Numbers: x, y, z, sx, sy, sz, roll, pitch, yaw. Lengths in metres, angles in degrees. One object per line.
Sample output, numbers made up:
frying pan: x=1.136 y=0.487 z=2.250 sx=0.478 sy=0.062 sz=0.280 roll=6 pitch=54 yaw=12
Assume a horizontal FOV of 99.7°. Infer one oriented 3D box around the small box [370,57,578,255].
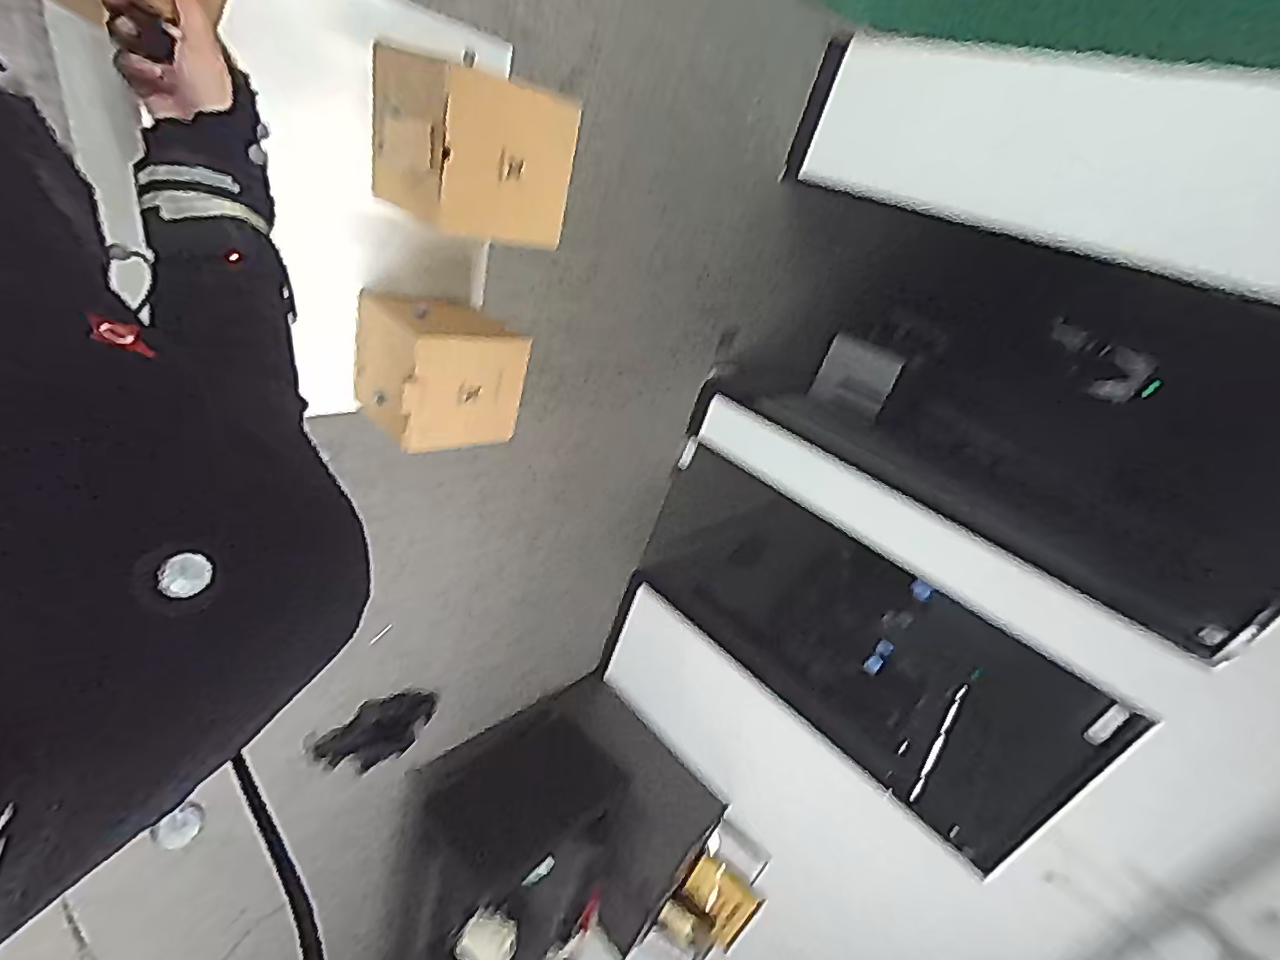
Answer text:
small box: x=-0.209 y=-0.397 z=0.672 sx=0.179 sy=0.176 sz=0.168 roll=-17 pitch=134 yaw=-44
